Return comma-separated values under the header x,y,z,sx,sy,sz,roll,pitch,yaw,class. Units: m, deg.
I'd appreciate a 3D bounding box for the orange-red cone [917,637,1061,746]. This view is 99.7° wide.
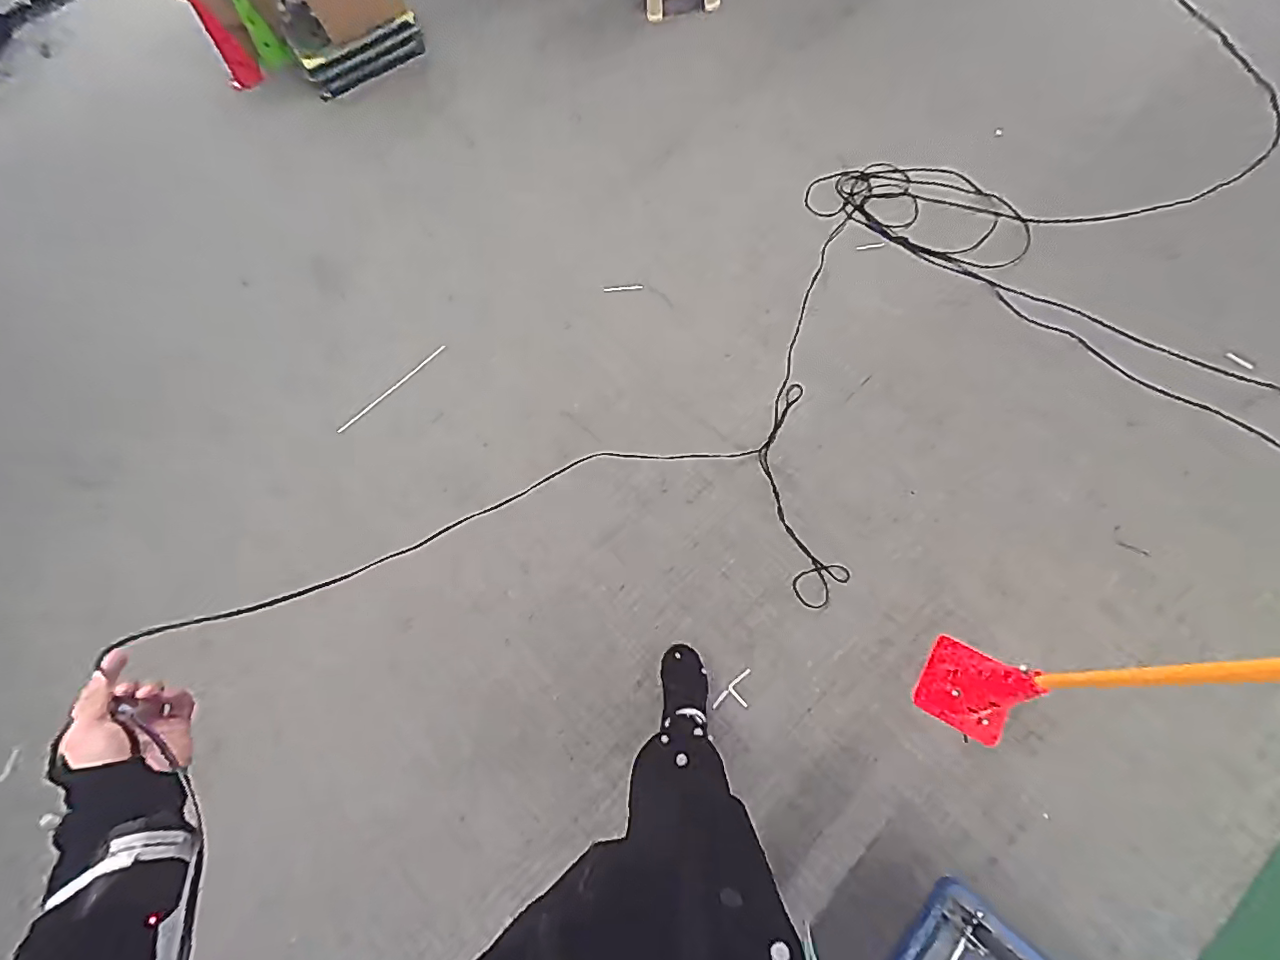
x,y,z,sx,sy,sz,roll,pitch,yaw,class
0.780,0.443,1.163,0.198,0.360,0.199,29,73,18,orange-red cone
